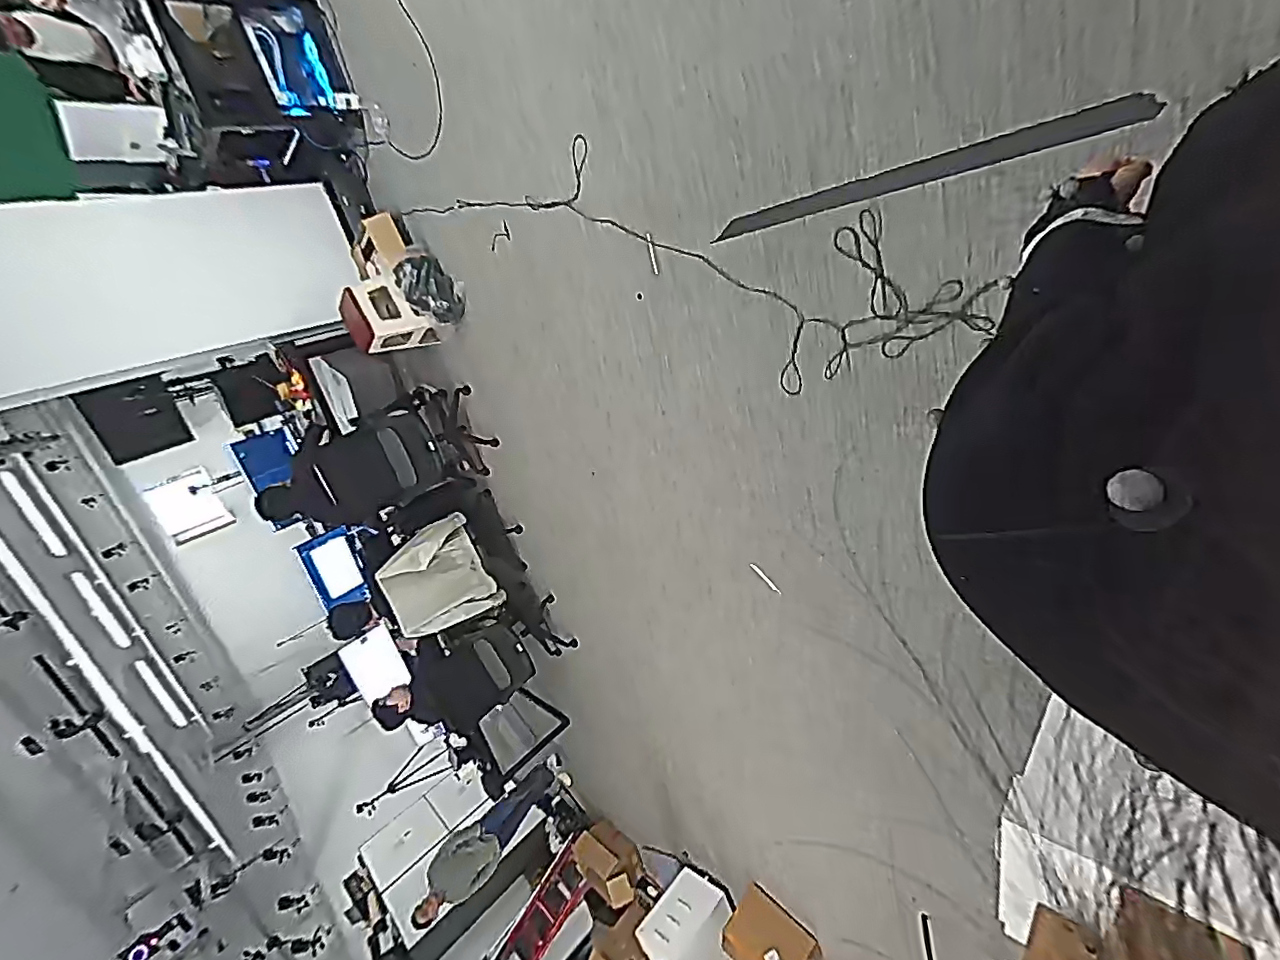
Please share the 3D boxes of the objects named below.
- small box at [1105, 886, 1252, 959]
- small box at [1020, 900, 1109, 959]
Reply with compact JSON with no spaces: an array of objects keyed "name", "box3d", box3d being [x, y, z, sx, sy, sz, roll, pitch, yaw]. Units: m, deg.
[{"name":"small box","box3d":[0.913,0.859,0.927,0.168,0.176,0.179,12,124,45]},{"name":"small box","box3d":[0.875,1.015,1.085,0.168,0.176,0.179,8,119,45]}]
